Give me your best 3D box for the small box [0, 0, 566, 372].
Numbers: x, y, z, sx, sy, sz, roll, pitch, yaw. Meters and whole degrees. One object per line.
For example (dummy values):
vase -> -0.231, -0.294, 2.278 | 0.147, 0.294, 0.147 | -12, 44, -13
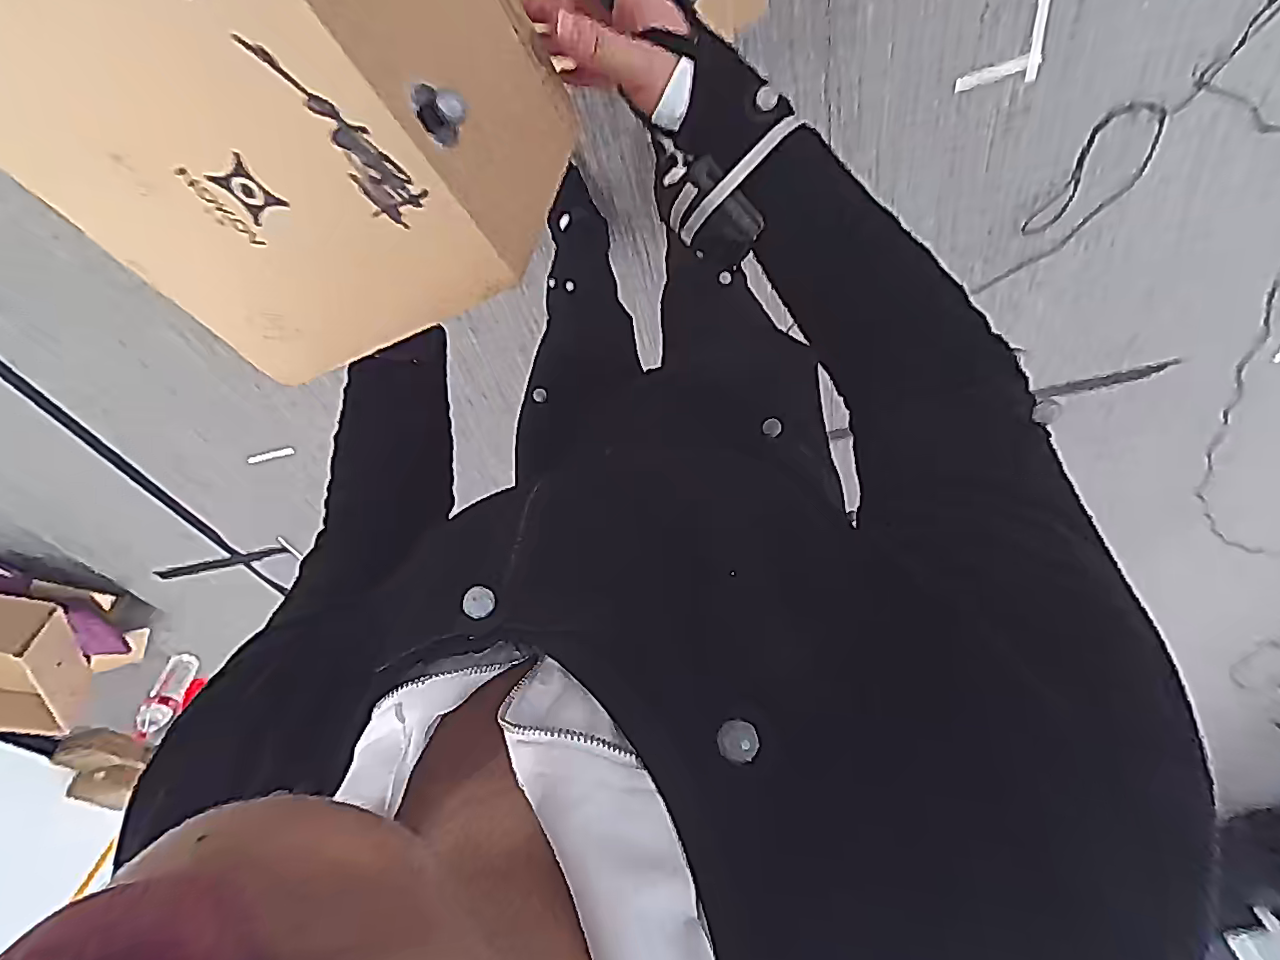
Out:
small box -> -0.161, -0.189, 0.275 | 0.179, 0.176, 0.168 | -12, 140, 26
